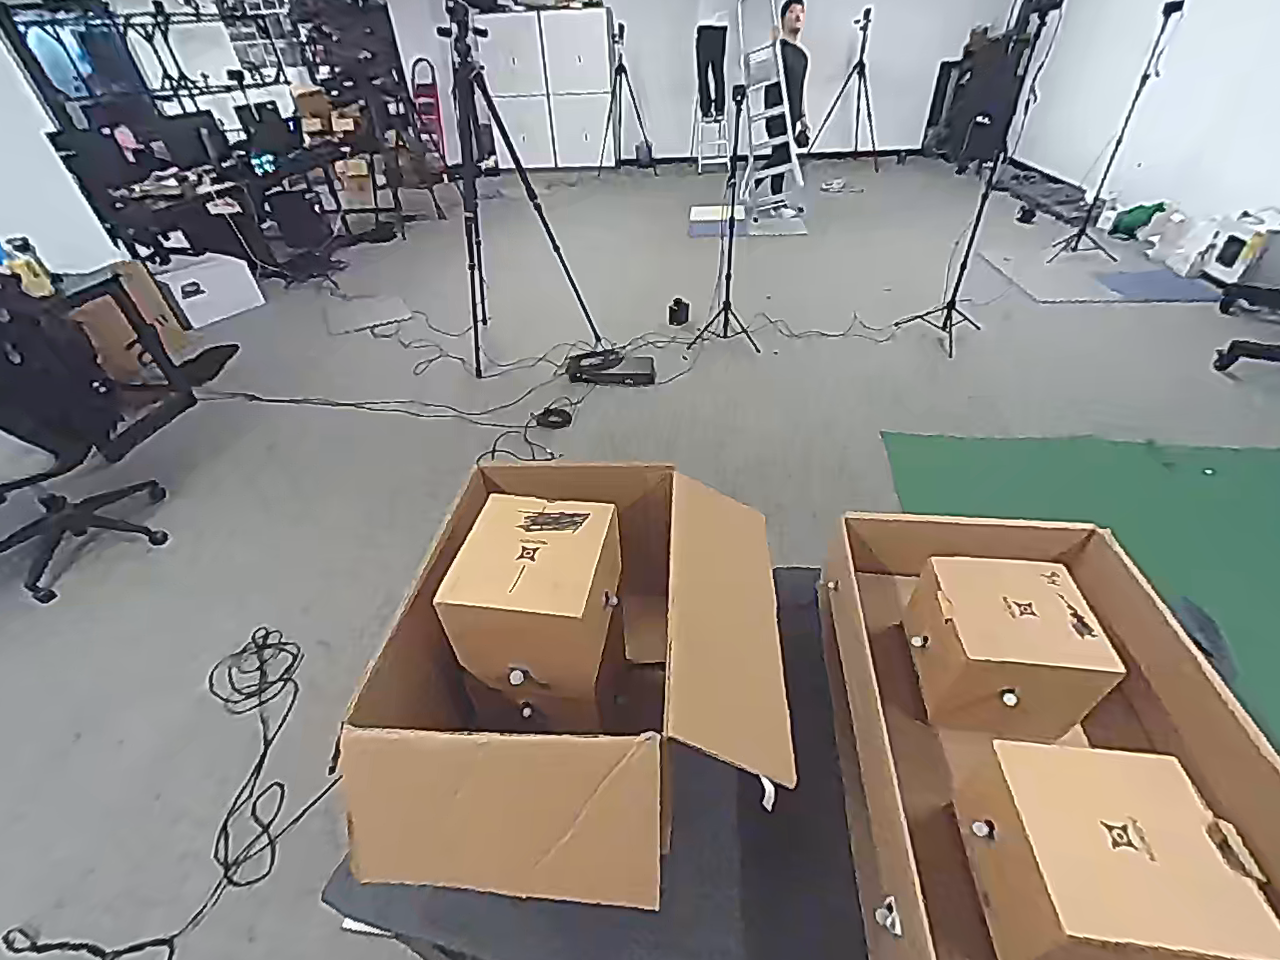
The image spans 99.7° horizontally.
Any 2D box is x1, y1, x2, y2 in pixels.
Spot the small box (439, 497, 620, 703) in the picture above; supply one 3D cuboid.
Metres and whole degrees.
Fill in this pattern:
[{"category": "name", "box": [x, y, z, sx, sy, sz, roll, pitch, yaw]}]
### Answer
[{"category": "small box", "box": [-0.120, 0.146, 0.675, 0.168, 0.176, 0.179, 5, 41, 8]}]
